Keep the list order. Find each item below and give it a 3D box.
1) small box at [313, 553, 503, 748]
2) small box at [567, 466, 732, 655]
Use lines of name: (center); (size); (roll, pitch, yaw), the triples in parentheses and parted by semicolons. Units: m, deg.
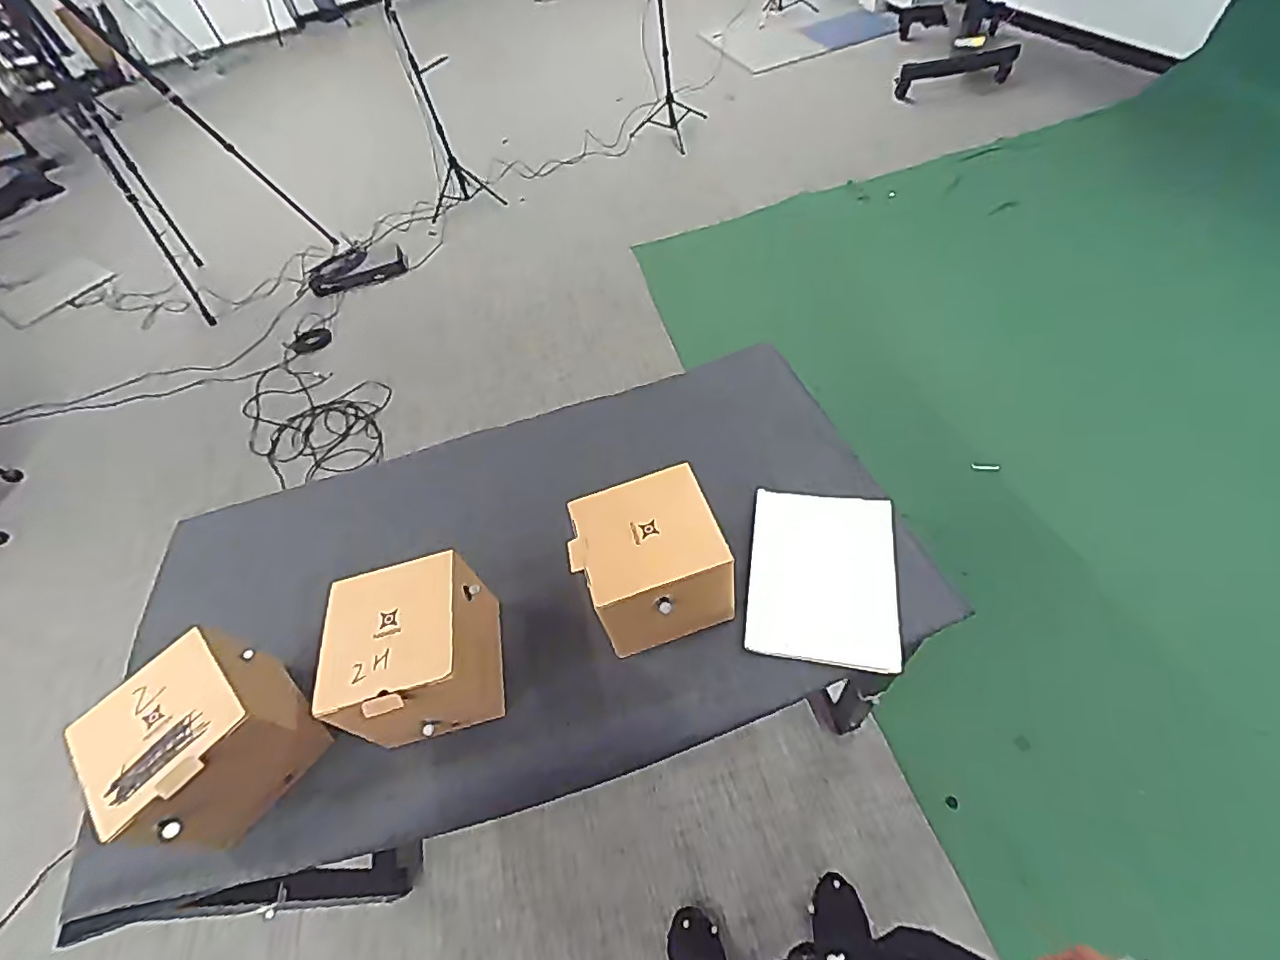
small box: (-0.292, 0.229, 0.720); (0.168, 0.176, 0.179); (-16, 51, 0)
small box: (0.017, 0.115, 0.745); (0.179, 0.176, 0.168); (-20, 51, -2)
